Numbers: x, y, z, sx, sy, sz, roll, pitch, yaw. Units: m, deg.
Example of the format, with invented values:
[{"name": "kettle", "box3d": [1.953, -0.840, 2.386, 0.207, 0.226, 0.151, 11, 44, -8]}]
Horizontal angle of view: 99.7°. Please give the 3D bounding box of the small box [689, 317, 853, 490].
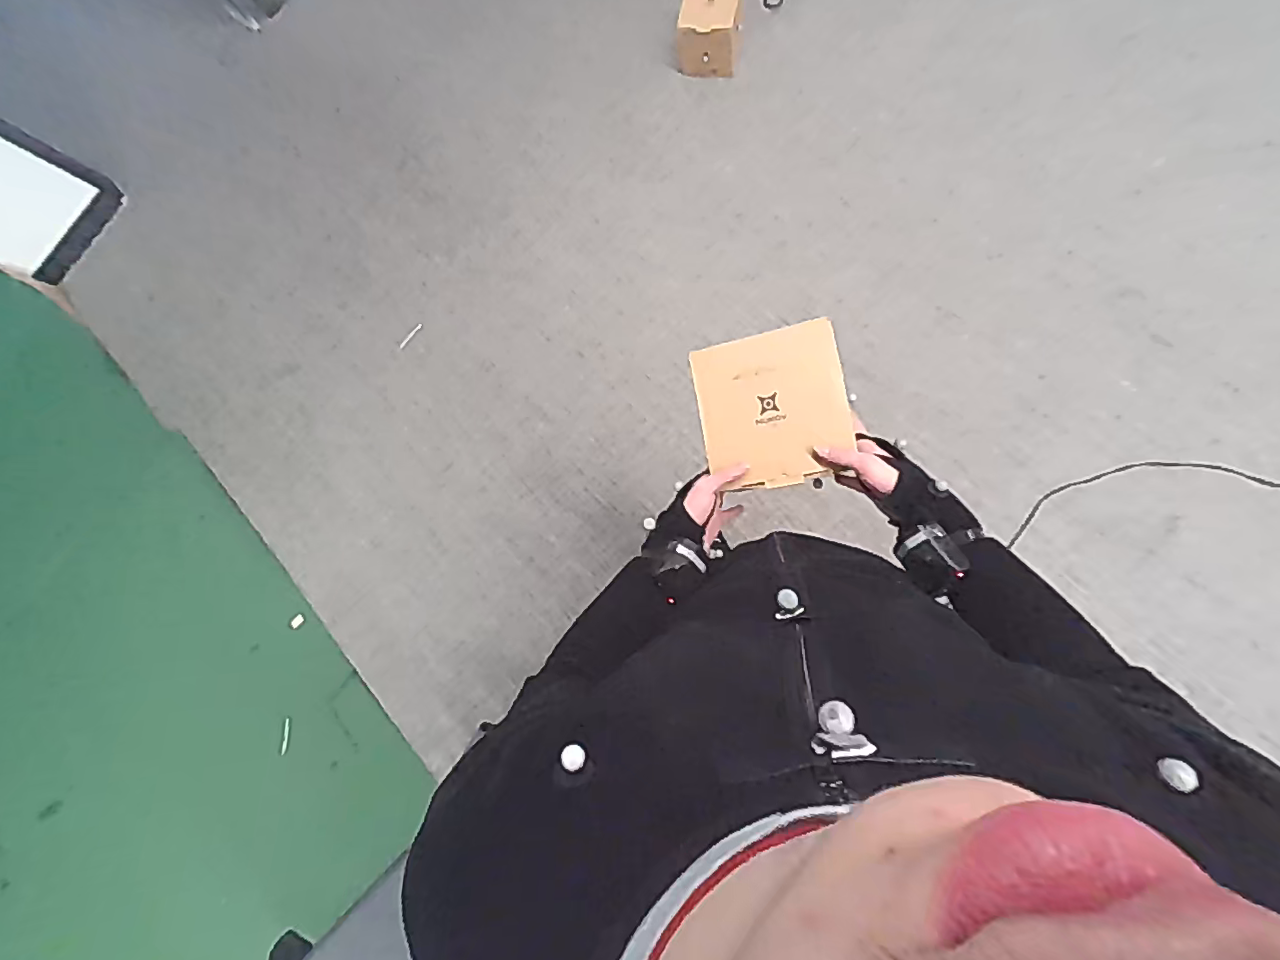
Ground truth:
[{"name": "small box", "box3d": [0.172, -0.086, 0.706, 0.168, 0.176, 0.179, -11, 86, 16]}]
